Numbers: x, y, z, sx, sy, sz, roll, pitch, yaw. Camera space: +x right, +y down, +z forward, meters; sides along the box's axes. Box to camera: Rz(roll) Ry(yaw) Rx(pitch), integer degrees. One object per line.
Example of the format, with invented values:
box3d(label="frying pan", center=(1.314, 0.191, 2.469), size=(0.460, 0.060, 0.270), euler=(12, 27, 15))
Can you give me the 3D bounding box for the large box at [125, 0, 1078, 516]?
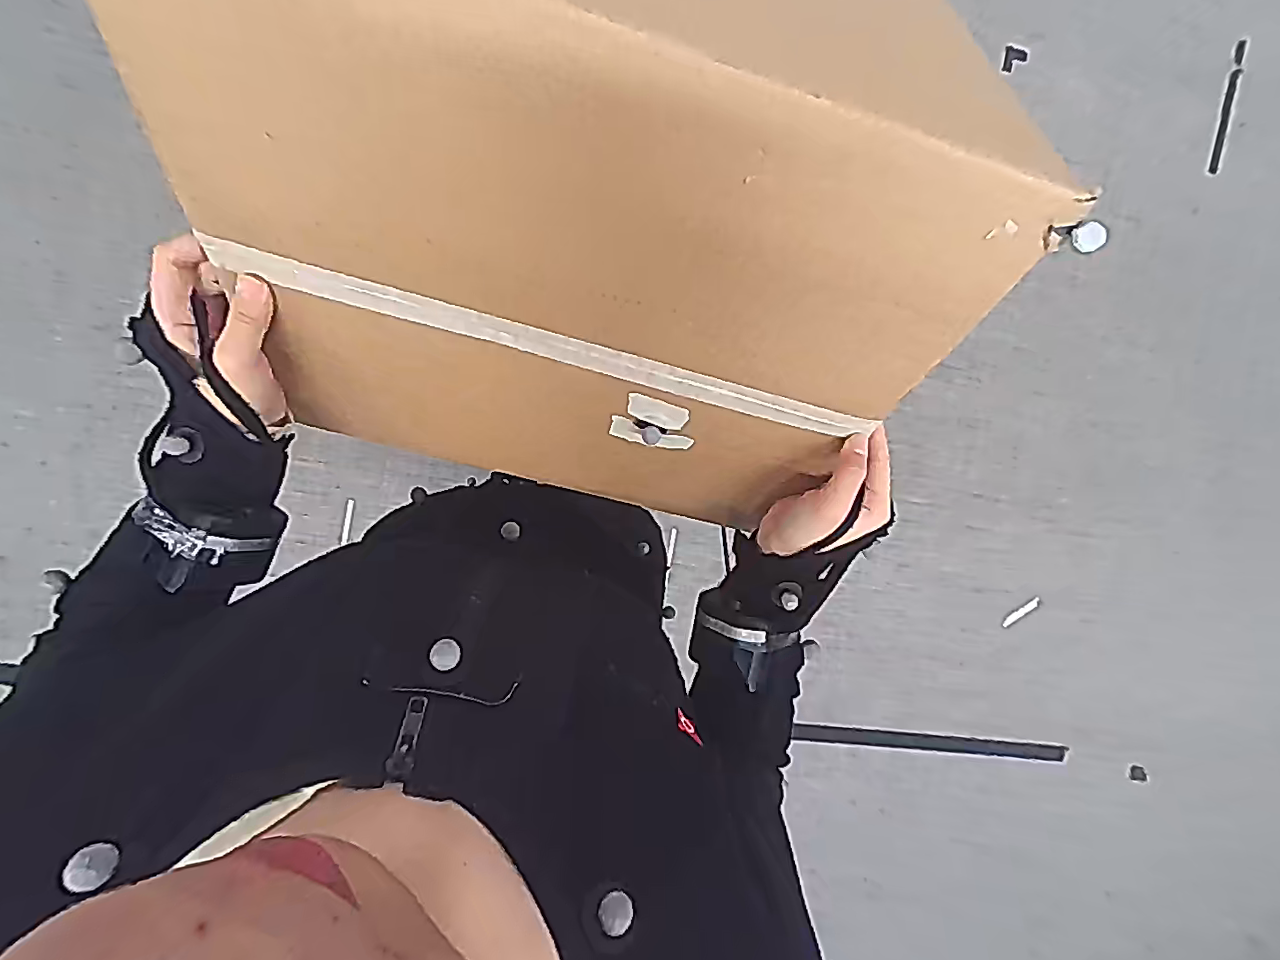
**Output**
box3d(label="large box", center=(-0.024, -0.212, 0.411), size=(0.408, 0.320, 0.320), euler=(12, 56, -8))
